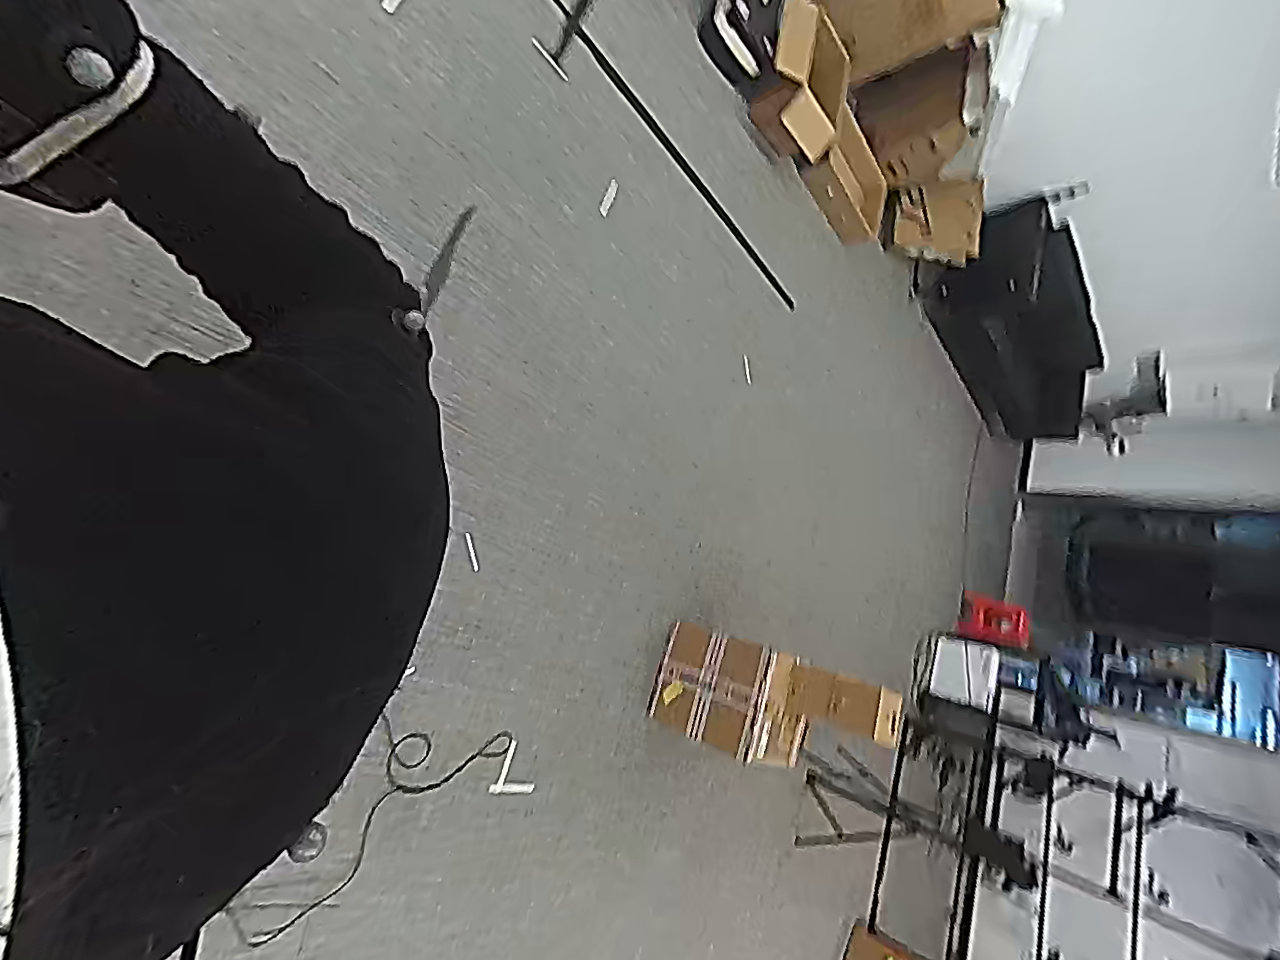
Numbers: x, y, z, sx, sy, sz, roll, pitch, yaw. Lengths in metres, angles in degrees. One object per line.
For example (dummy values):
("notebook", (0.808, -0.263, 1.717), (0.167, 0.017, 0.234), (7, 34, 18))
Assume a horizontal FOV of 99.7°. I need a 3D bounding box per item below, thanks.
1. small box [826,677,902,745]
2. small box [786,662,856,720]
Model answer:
("small box", (0.768, 0.788, 1.854), (0.179, 0.176, 0.168), (31, 69, -37))
("small box", (0.664, 0.777, 1.983), (0.179, 0.176, 0.168), (27, 71, -38))
